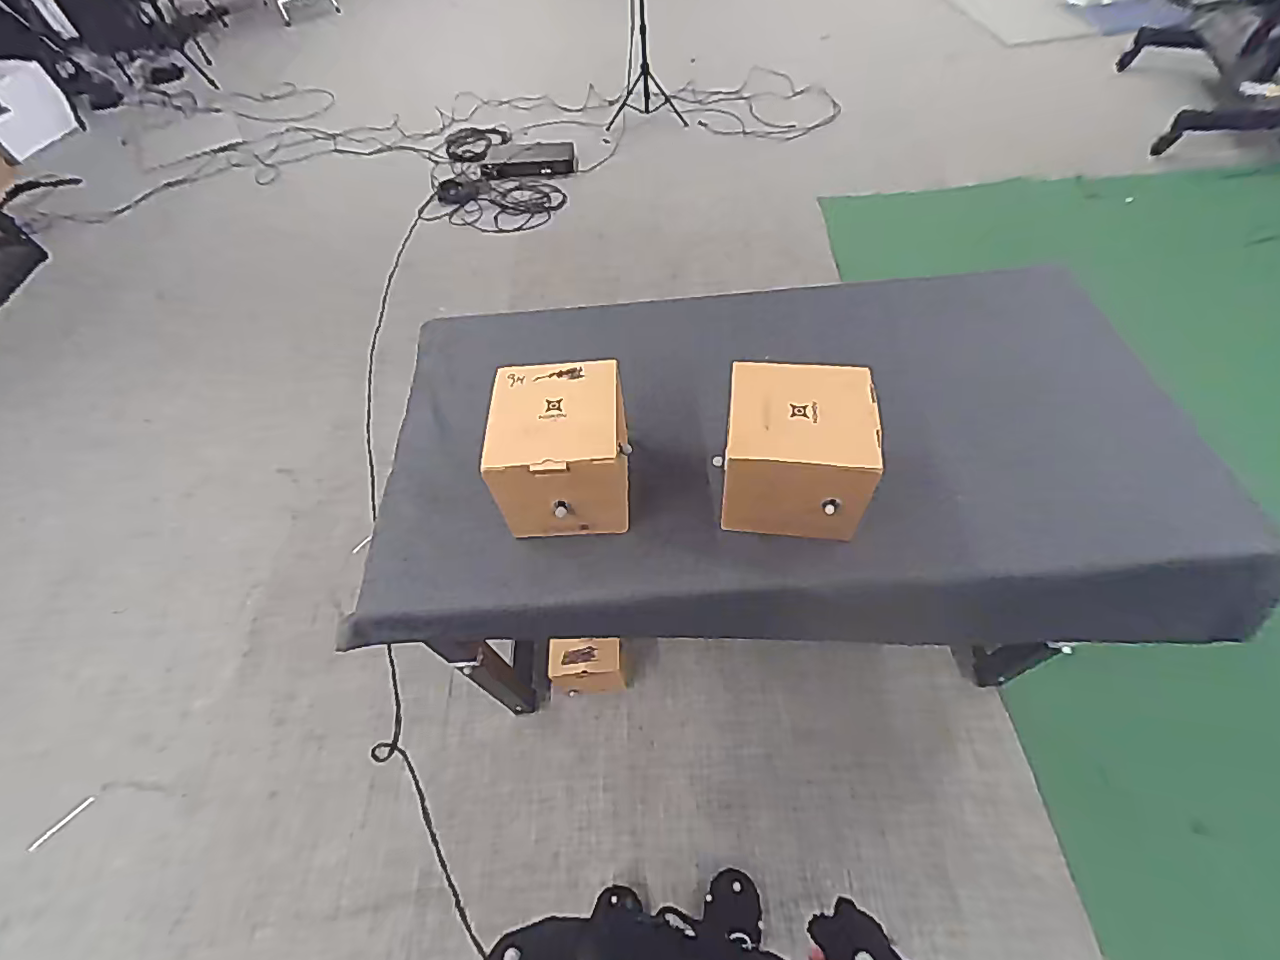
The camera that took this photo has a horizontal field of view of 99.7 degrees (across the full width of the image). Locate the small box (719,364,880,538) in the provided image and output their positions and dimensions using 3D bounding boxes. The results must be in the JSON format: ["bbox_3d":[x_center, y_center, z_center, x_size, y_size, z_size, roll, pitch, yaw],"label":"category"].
[{"bbox_3d":[0.204,-0.034,0.731,0.179,0.176,0.168,5,56,8],"label":"small box"}]

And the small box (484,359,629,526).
[{"bbox_3d":[-0.103,-0.045,0.757,0.168,0.176,0.179,-2,56,2],"label":"small box"}]
